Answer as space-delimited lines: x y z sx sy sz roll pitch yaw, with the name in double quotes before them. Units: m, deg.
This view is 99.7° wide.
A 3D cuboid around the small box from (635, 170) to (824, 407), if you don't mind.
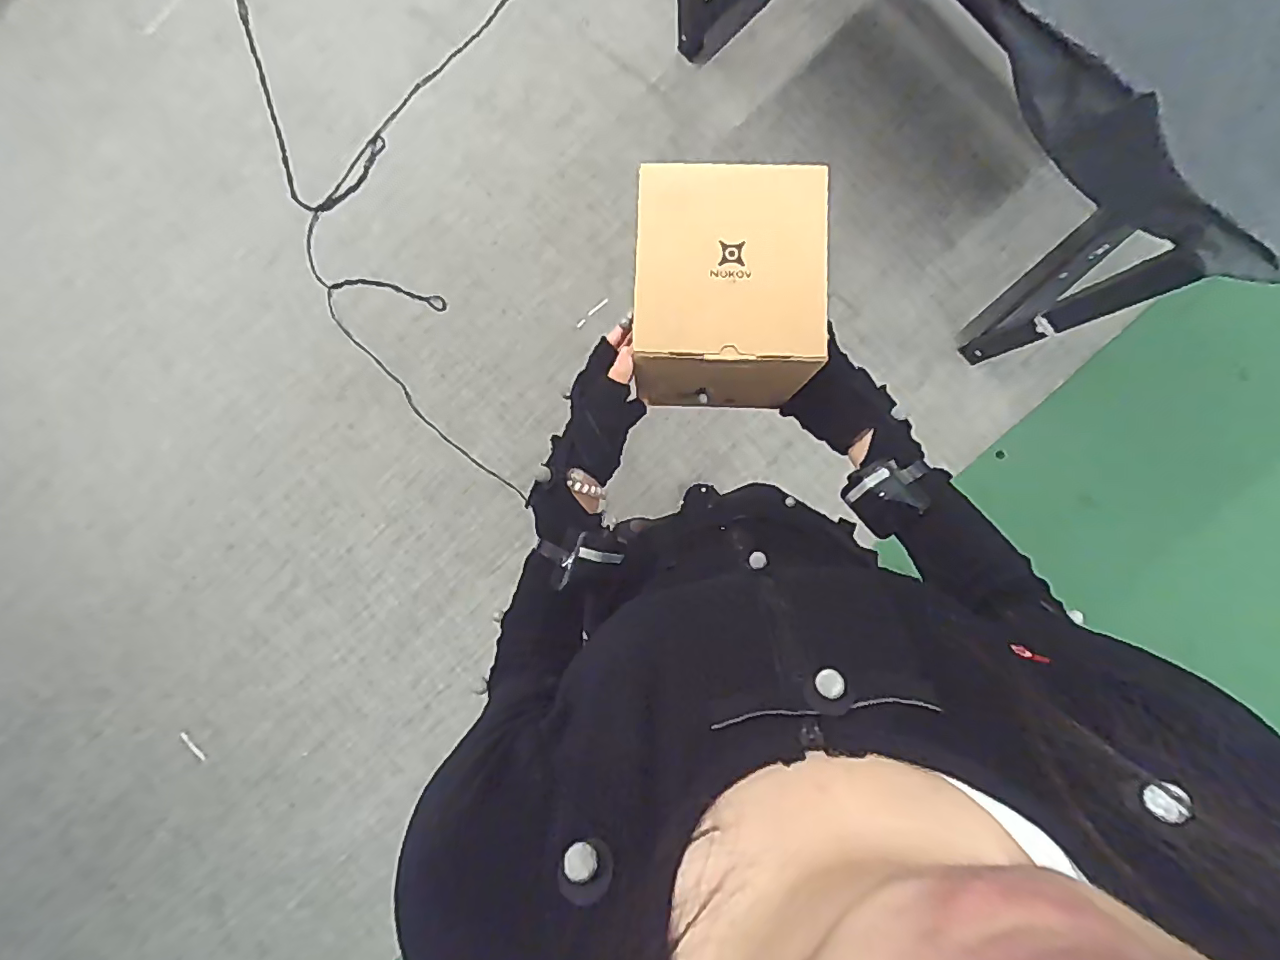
"small box" 0.081 -0.183 0.557 0.168 0.176 0.179 2 85 2
